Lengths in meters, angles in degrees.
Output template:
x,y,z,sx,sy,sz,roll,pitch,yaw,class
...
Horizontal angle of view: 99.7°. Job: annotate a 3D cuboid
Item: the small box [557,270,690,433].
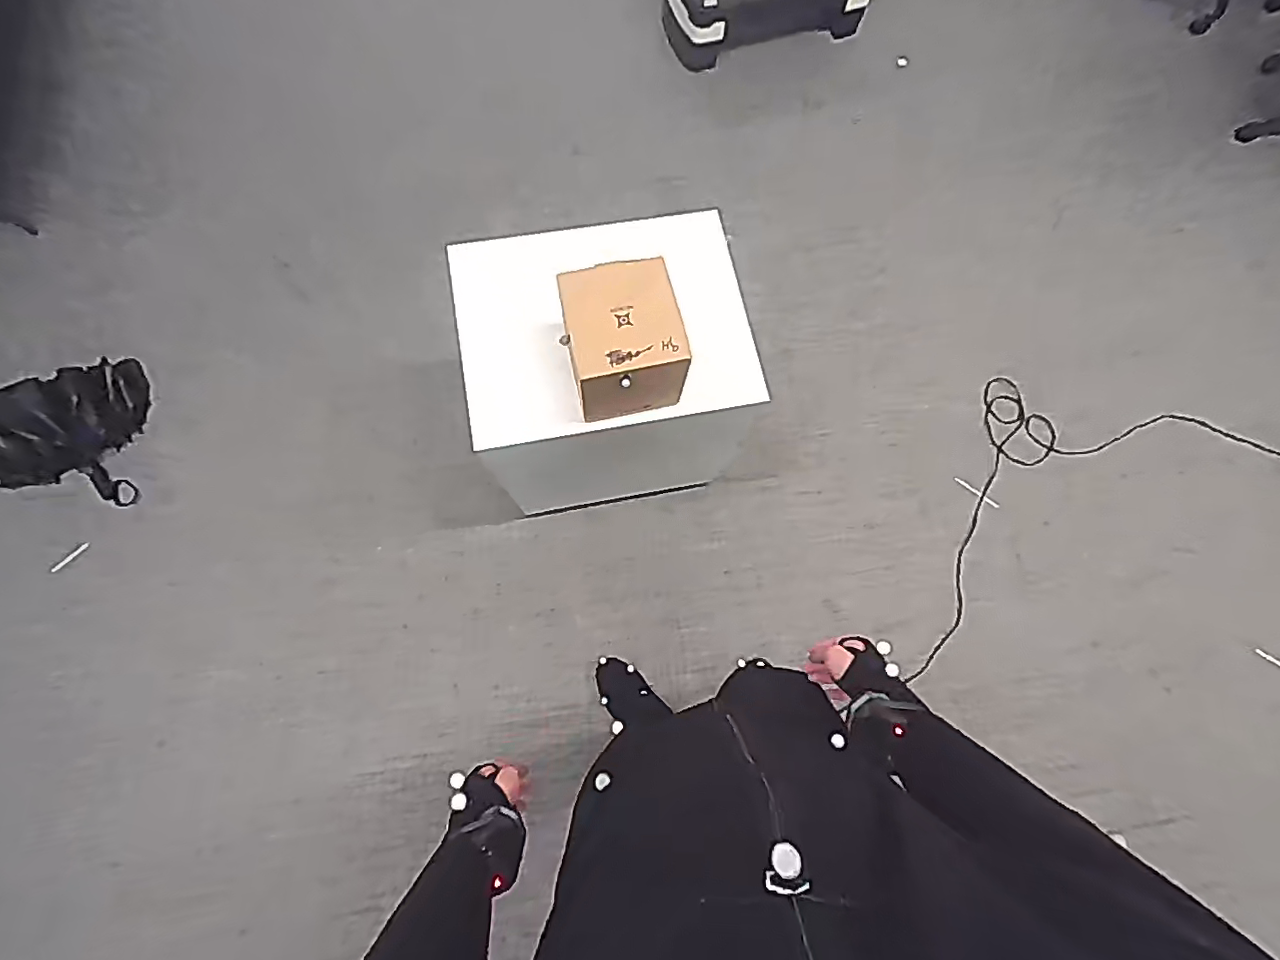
x,y,z,sx,sy,sz,roll,pitch,yaw,class
-0.031,-0.197,0.859,0.168,0.176,0.179,-13,74,-7,small box
